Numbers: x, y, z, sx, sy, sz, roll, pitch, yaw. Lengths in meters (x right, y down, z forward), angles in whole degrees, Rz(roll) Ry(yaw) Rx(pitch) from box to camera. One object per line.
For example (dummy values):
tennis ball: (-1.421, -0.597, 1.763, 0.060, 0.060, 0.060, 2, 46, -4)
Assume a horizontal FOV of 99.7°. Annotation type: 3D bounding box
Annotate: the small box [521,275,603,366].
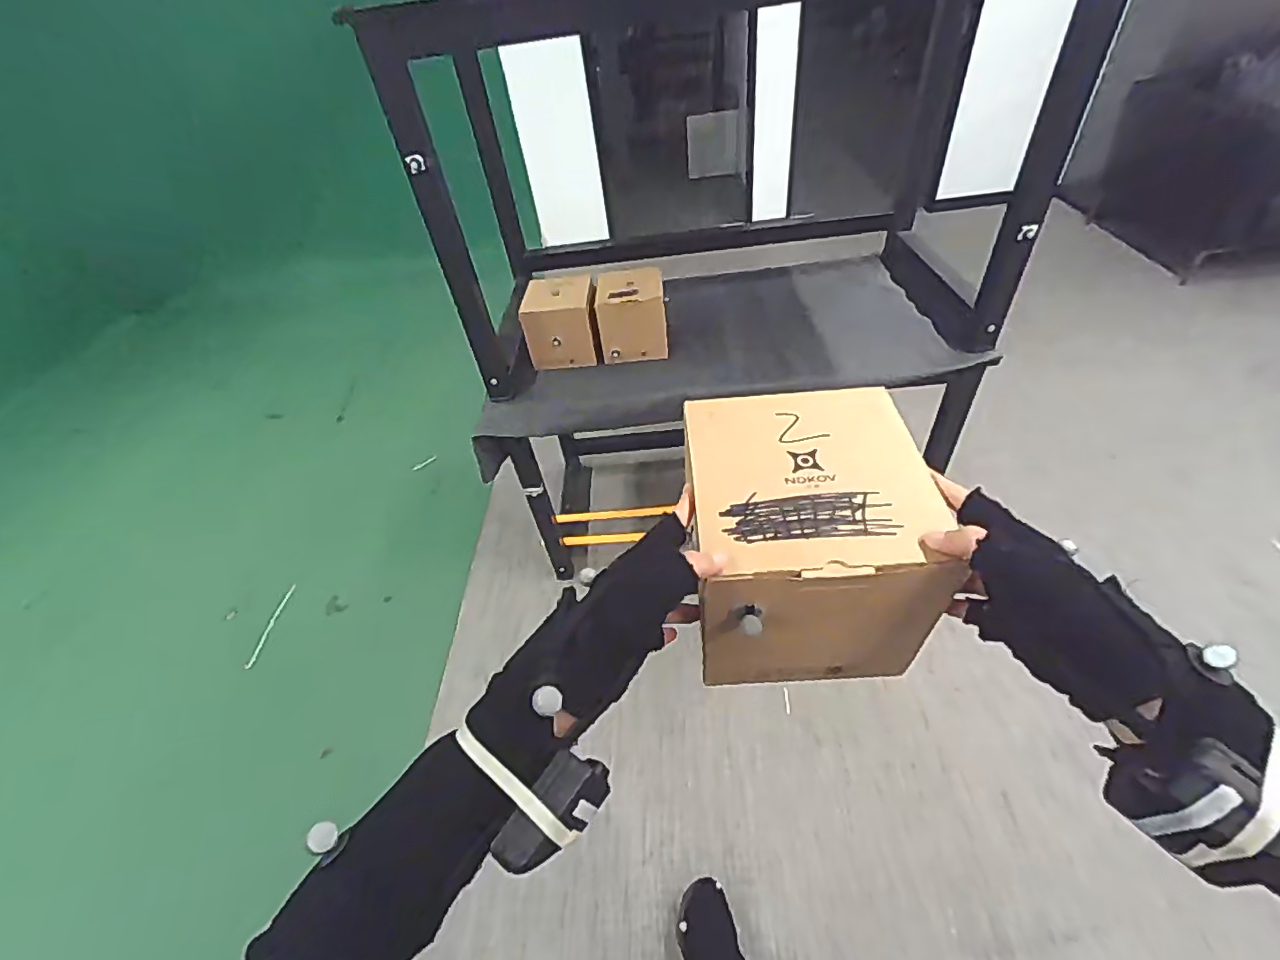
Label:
small box: (-0.193, -0.407, 1.397, 0.168, 0.176, 0.179, -2, 44, 5)
